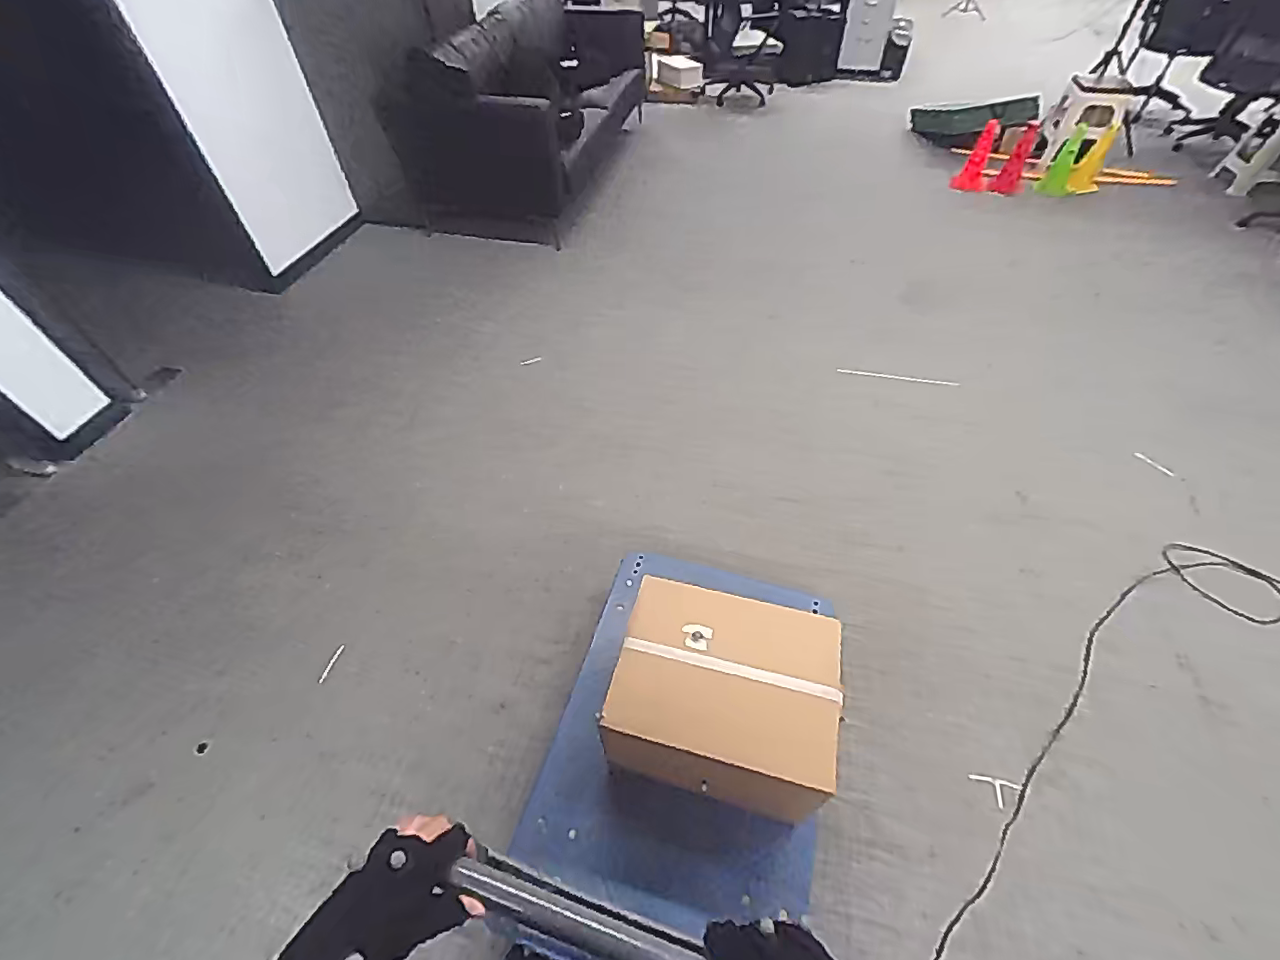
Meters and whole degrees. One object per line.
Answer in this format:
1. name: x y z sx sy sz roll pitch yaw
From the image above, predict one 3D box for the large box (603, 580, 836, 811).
1. large box: 0.170 0.450 1.129 0.408 0.320 0.320 10 50 11
